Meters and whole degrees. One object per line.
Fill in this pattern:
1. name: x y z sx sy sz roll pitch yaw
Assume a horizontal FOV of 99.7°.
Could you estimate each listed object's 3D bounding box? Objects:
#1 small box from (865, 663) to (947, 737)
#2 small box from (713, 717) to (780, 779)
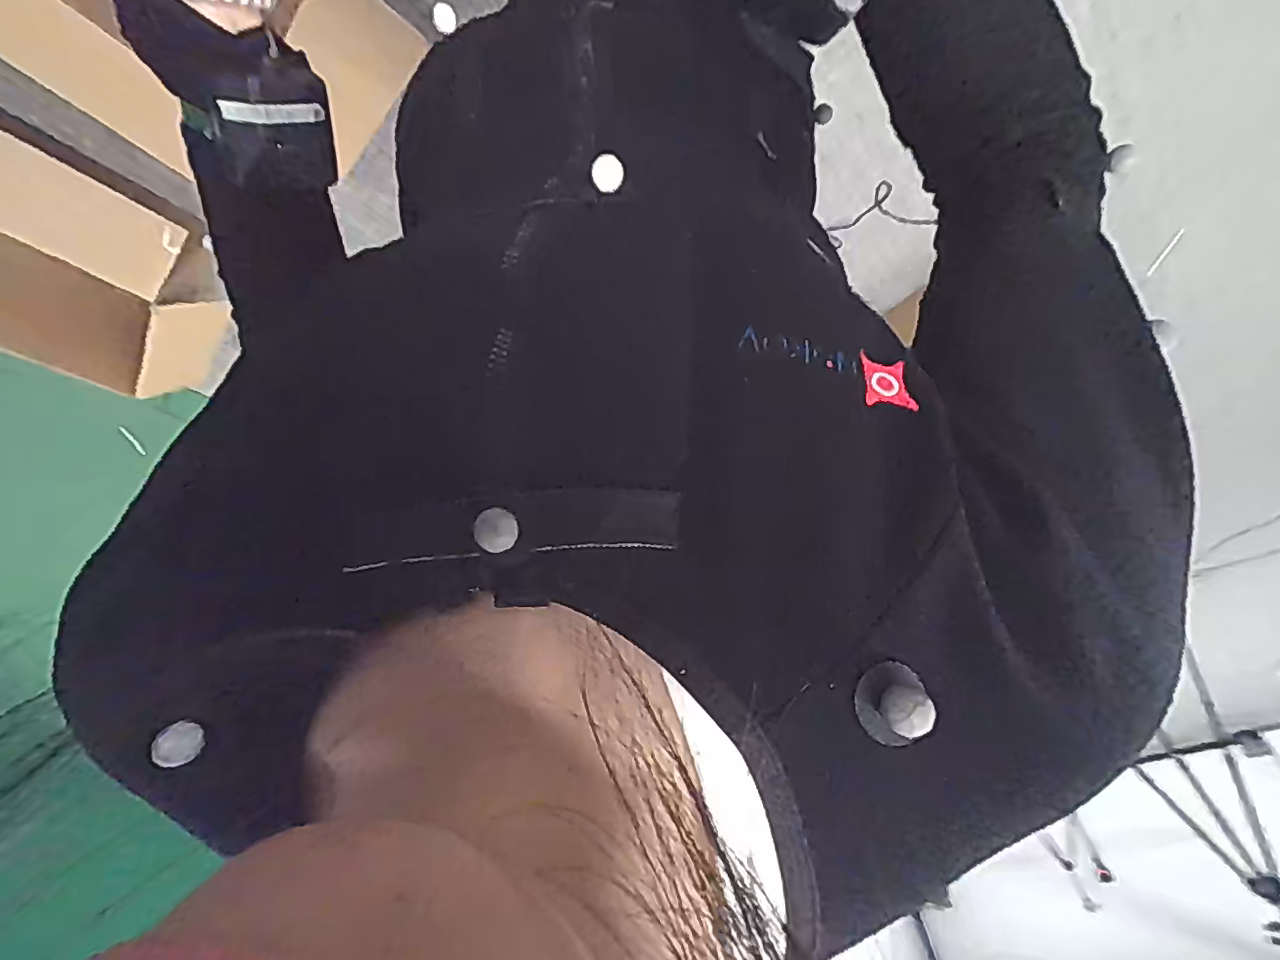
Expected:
1. small box: 0.856 0.719 1.762 0.179 0.176 0.168 -32 134 28
2. small box: 0.398 1.008 2.036 0.168 0.176 0.179 -33 133 26
